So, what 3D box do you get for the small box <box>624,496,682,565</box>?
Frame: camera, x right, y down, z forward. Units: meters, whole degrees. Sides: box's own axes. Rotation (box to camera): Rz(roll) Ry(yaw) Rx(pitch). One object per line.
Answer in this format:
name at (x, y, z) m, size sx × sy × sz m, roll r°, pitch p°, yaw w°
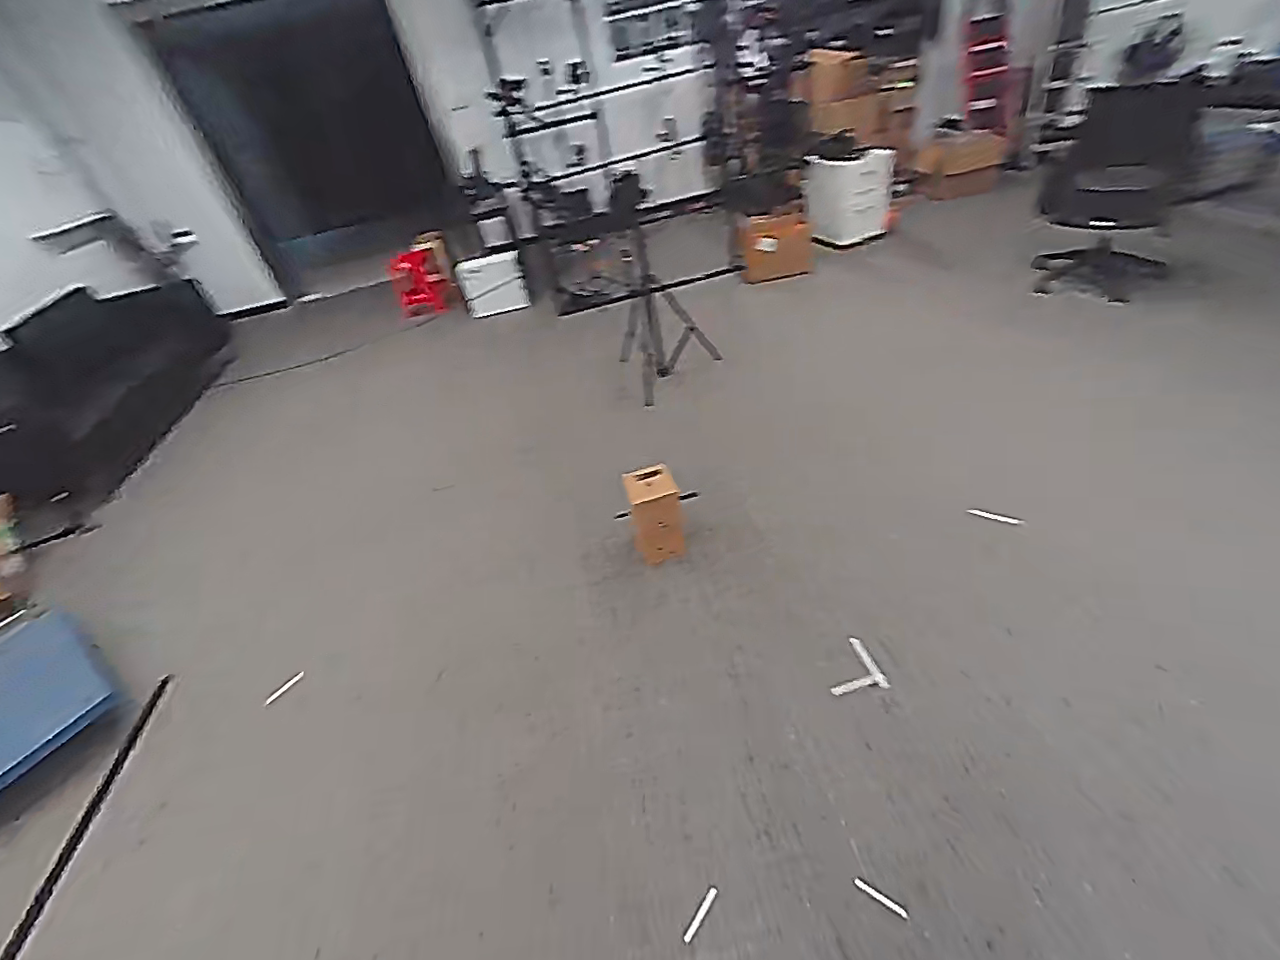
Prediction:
small box at (0.050, 0.194, 2.083) m, size 0.168 × 0.176 × 0.179 m, roll -19°, pitch 39°, yaw -7°
